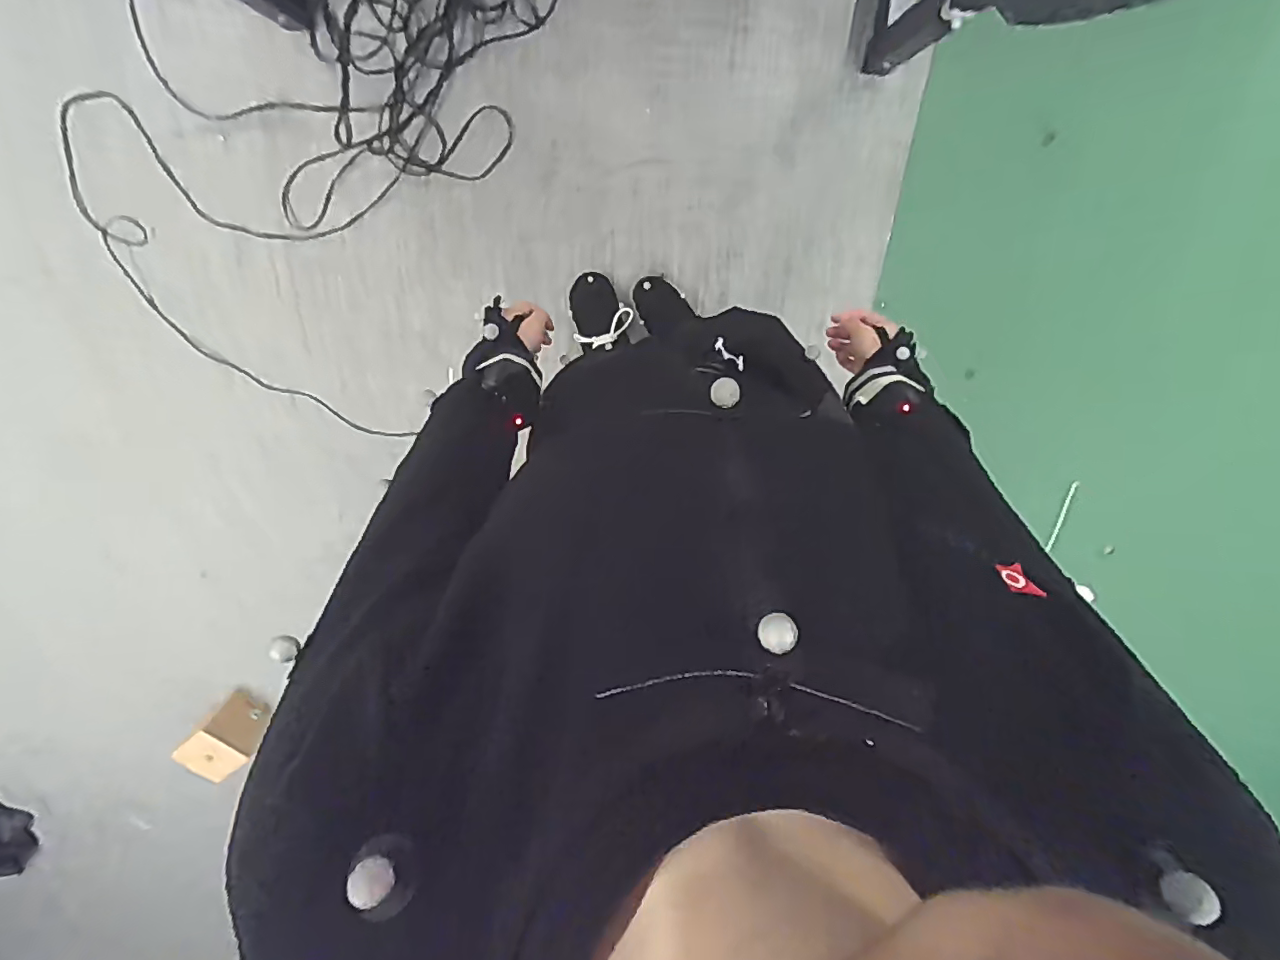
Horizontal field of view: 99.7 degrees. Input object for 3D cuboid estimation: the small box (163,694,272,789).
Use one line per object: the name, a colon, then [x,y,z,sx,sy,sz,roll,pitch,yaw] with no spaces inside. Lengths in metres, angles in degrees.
small box: [-1.303,0.810,1.683,0.179,0.176,0.168,-37,110,14]
